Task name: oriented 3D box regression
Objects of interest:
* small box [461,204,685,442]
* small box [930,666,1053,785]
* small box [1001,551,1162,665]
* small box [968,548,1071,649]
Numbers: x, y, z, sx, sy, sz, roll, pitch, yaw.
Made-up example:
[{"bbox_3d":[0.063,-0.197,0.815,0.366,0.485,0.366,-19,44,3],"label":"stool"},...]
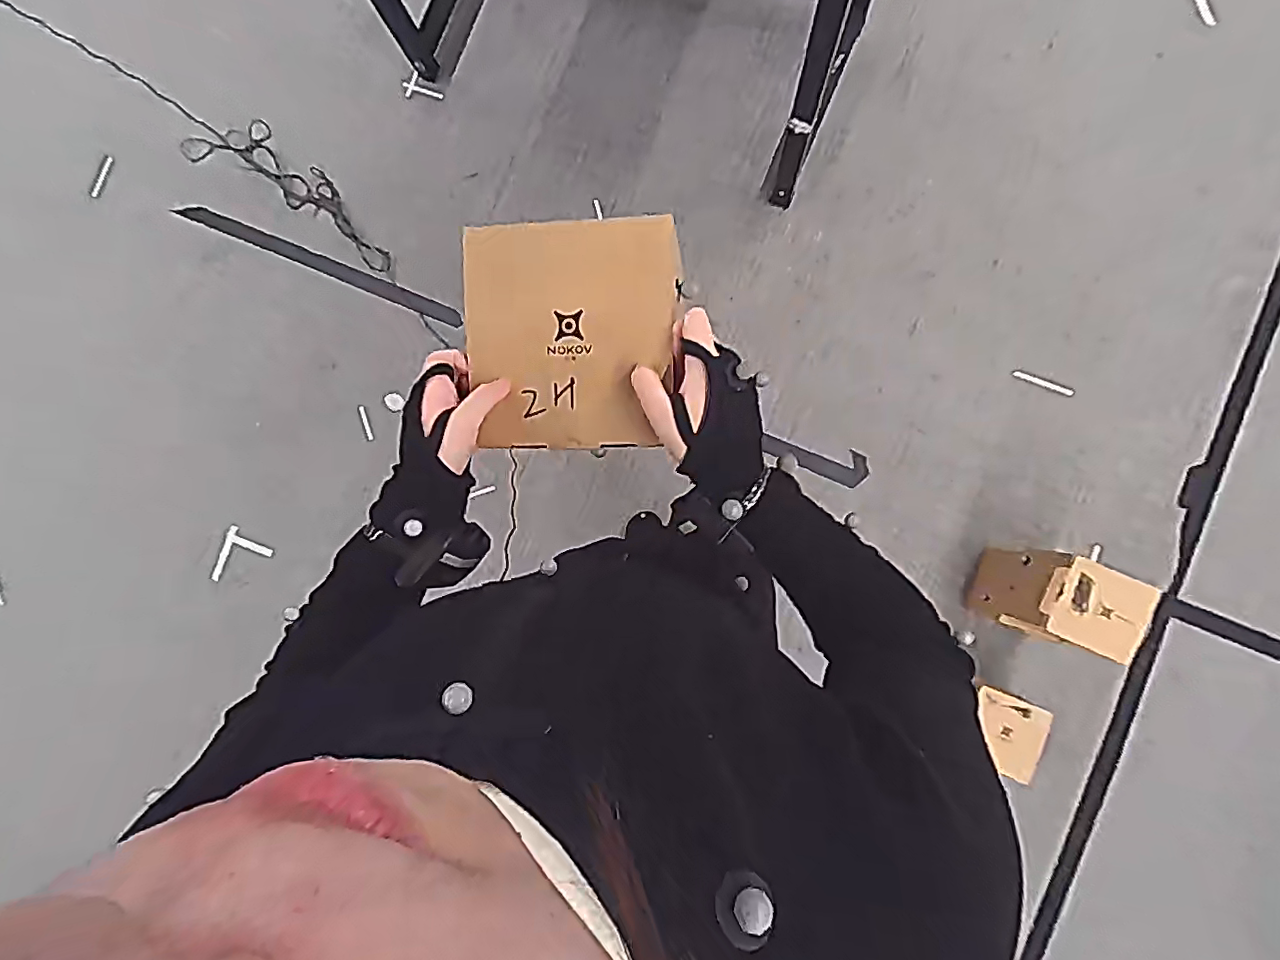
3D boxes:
[{"bbox_3d":[-0.046,-0.125,0.490,0.168,0.176,0.179,0,98,8],"label":"small box"},{"bbox_3d":[0.831,0.579,1.301,0.168,0.176,0.179,22,90,6],"label":"small box"},{"bbox_3d":[0.916,0.259,1.142,0.179,0.176,0.168,24,91,5],"label":"small box"},{"bbox_3d":[0.932,0.276,1.304,0.168,0.176,0.179,21,90,6],"label":"small box"}]
